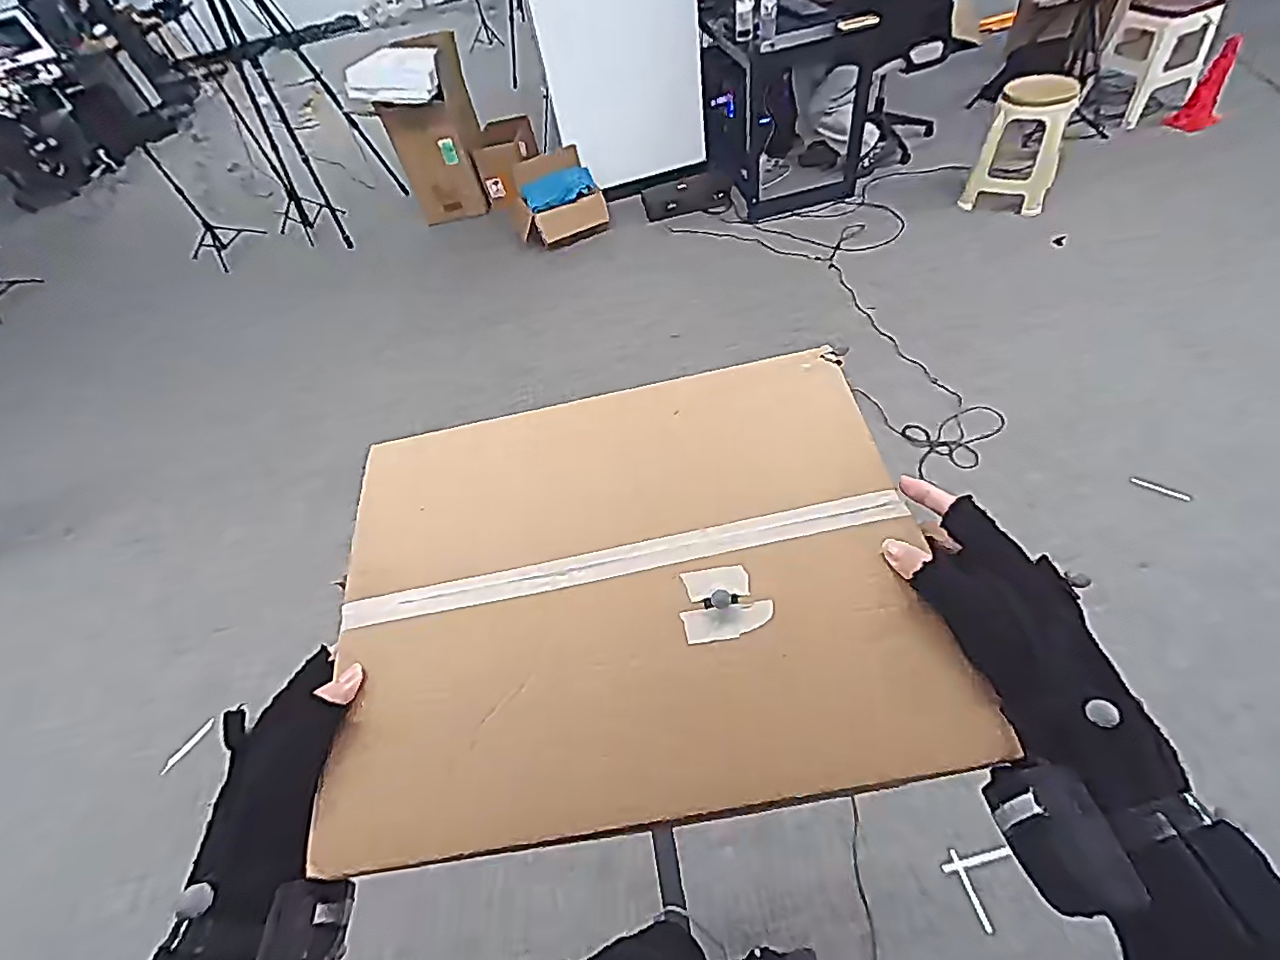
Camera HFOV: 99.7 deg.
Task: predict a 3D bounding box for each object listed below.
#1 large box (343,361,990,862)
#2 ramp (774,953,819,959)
[{"bbox_3d":[0.010,0.141,0.524,0.408,0.320,0.320,-12,58,3],"label":"large box"},{"bbox_3d":[0.171,1.311,0.709,0.509,0.206,0.991,-14,49,2],"label":"ramp"}]
